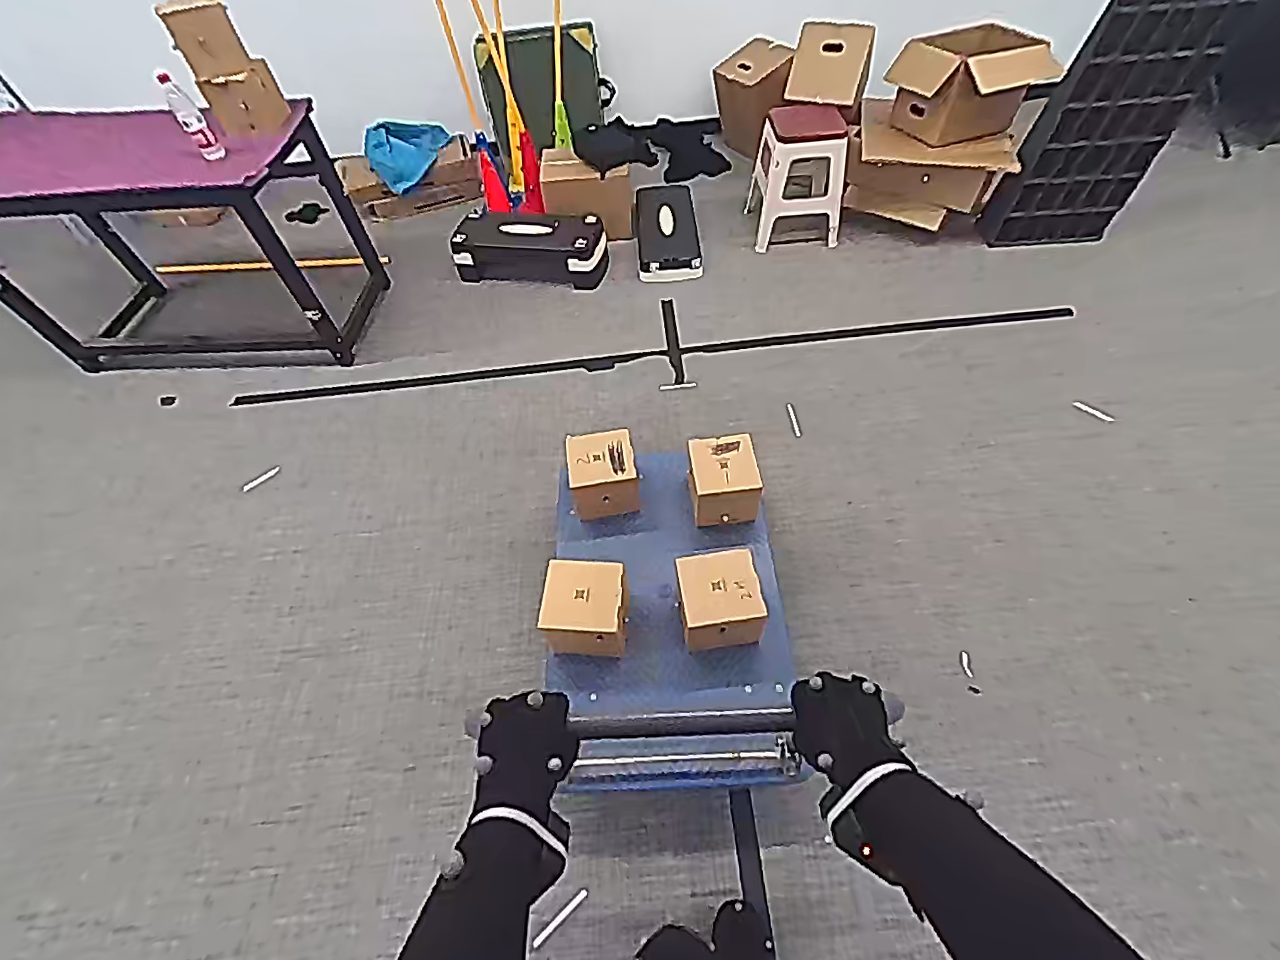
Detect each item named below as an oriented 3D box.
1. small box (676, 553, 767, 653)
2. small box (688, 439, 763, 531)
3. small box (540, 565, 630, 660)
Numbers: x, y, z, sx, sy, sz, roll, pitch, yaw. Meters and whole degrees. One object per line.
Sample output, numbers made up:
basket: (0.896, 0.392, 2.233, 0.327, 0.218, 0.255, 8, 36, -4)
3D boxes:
small box: (0.183, 0.292, 1.260, 0.179, 0.176, 0.168, -8, 55, -1)
small box: (0.221, 0.015, 1.451, 0.168, 0.176, 0.179, -7, 56, 0)
small box: (-0.121, 0.313, 1.269, 0.179, 0.176, 0.168, 2, 55, 4)
